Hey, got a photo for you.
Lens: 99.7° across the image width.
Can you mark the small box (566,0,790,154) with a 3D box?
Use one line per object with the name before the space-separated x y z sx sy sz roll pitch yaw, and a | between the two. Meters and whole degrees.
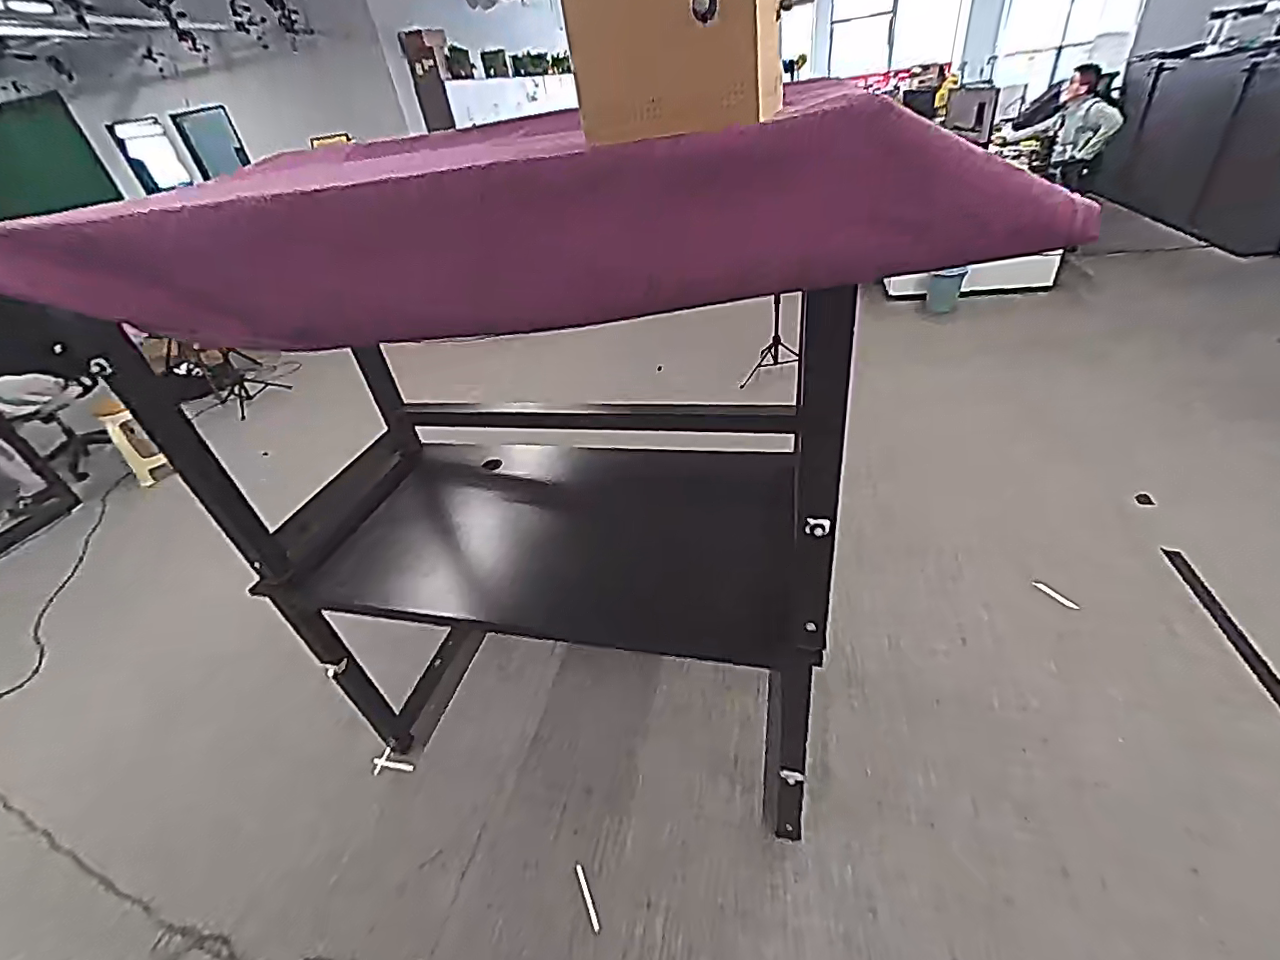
small box | 0.047 -0.430 0.521 0.179 0.176 0.168 5 37 21
